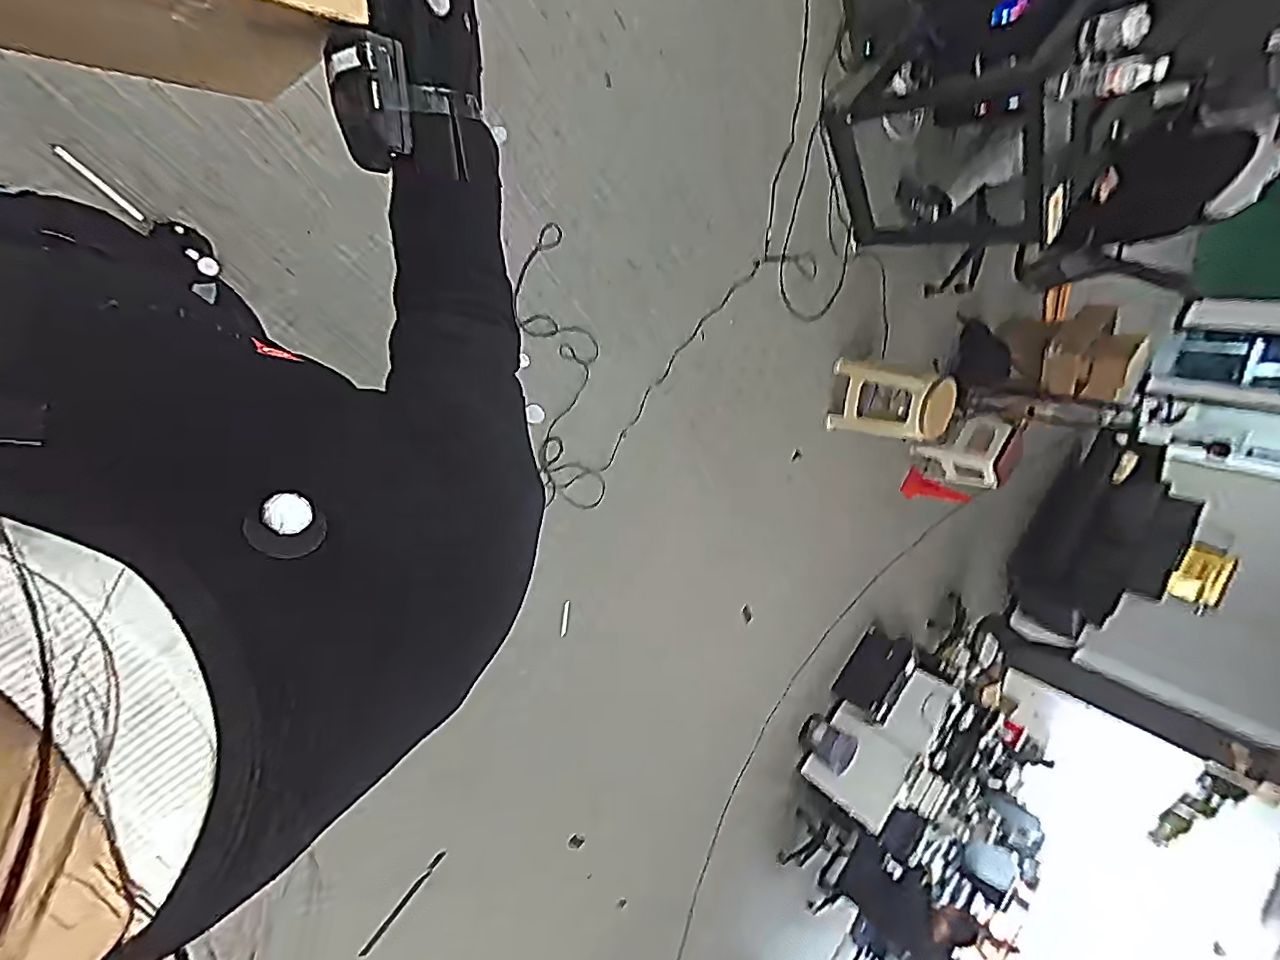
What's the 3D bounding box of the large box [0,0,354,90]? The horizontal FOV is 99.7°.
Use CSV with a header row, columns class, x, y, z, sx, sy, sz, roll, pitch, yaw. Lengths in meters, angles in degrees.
class,x,y,z,sx,sy,sz,roll,pitch,yaw
large box,-0.407,-0.417,0.238,0.408,0.320,0.320,-16,121,-38
